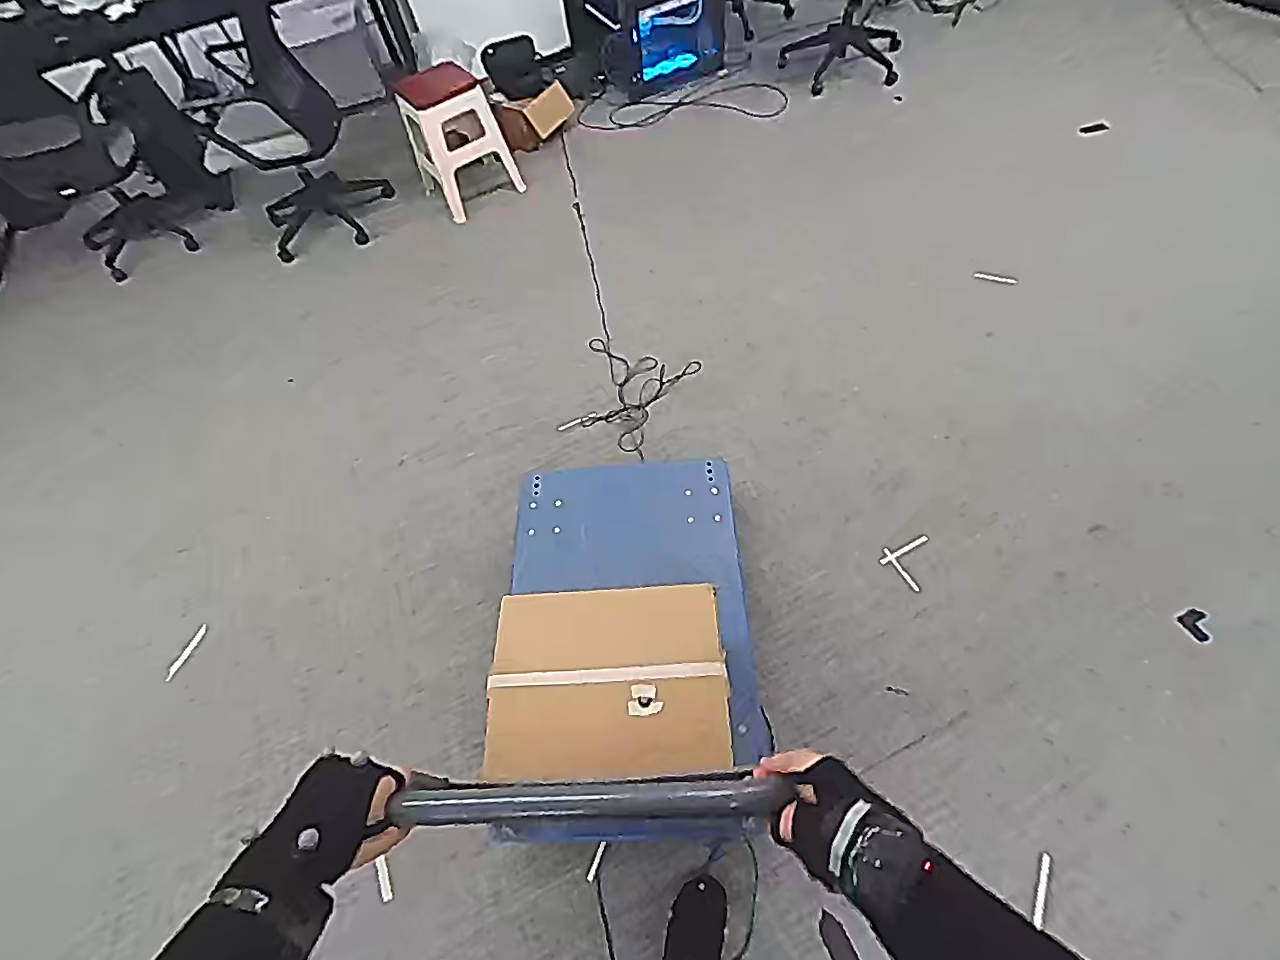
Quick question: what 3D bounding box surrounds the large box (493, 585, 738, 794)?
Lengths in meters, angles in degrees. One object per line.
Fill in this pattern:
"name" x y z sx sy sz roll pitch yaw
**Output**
"large box" -0.037 0.422 1.063 0.408 0.320 0.320 -5 58 3
